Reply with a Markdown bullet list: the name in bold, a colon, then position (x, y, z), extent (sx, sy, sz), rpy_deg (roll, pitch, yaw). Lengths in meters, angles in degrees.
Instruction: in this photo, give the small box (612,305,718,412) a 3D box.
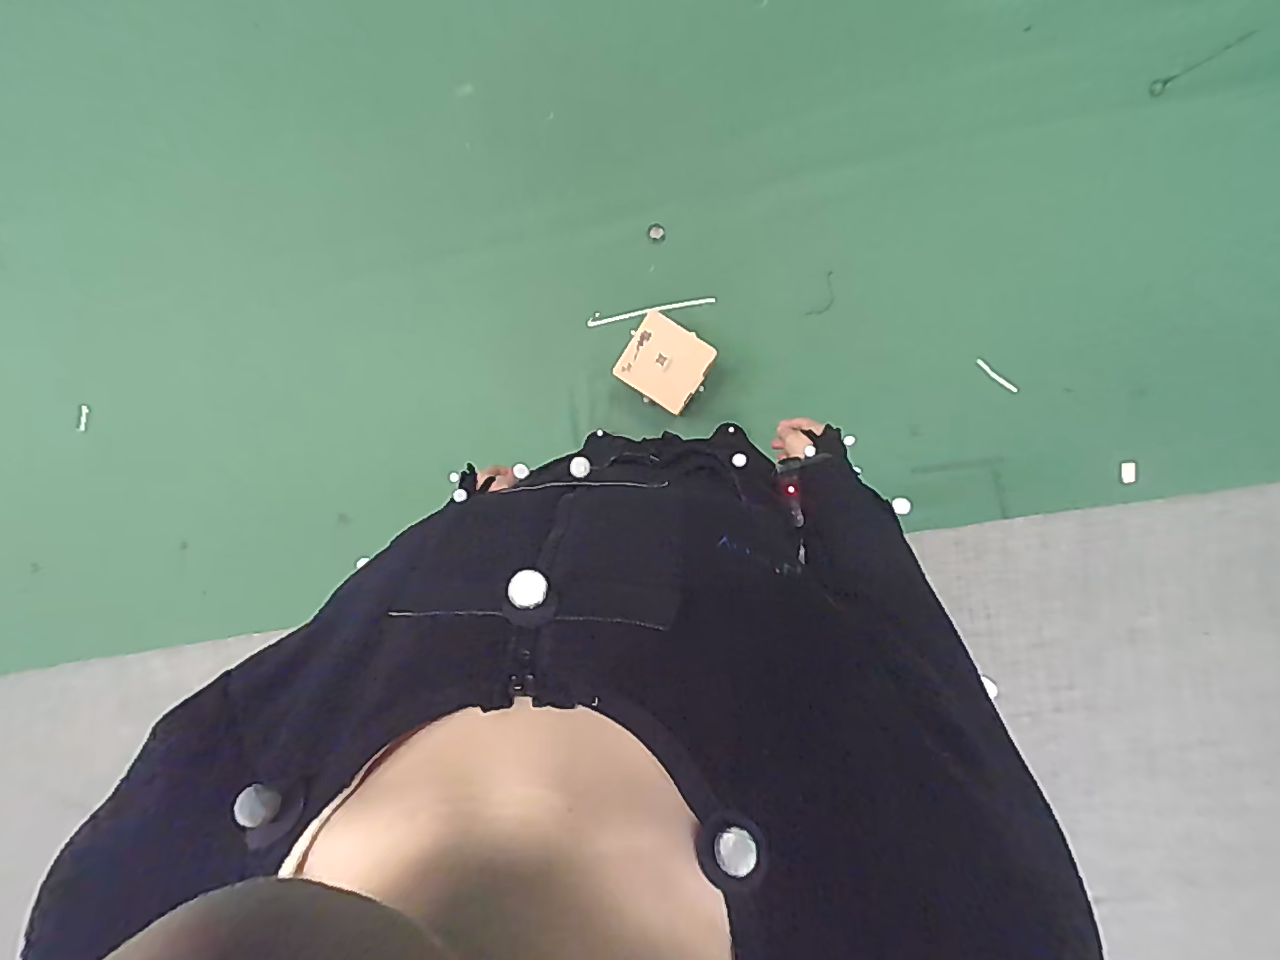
- **small box**: position (0.059, -0.274, 1.242), extent (0.179, 0.176, 0.168), rpy_deg (34, 99, 0)
